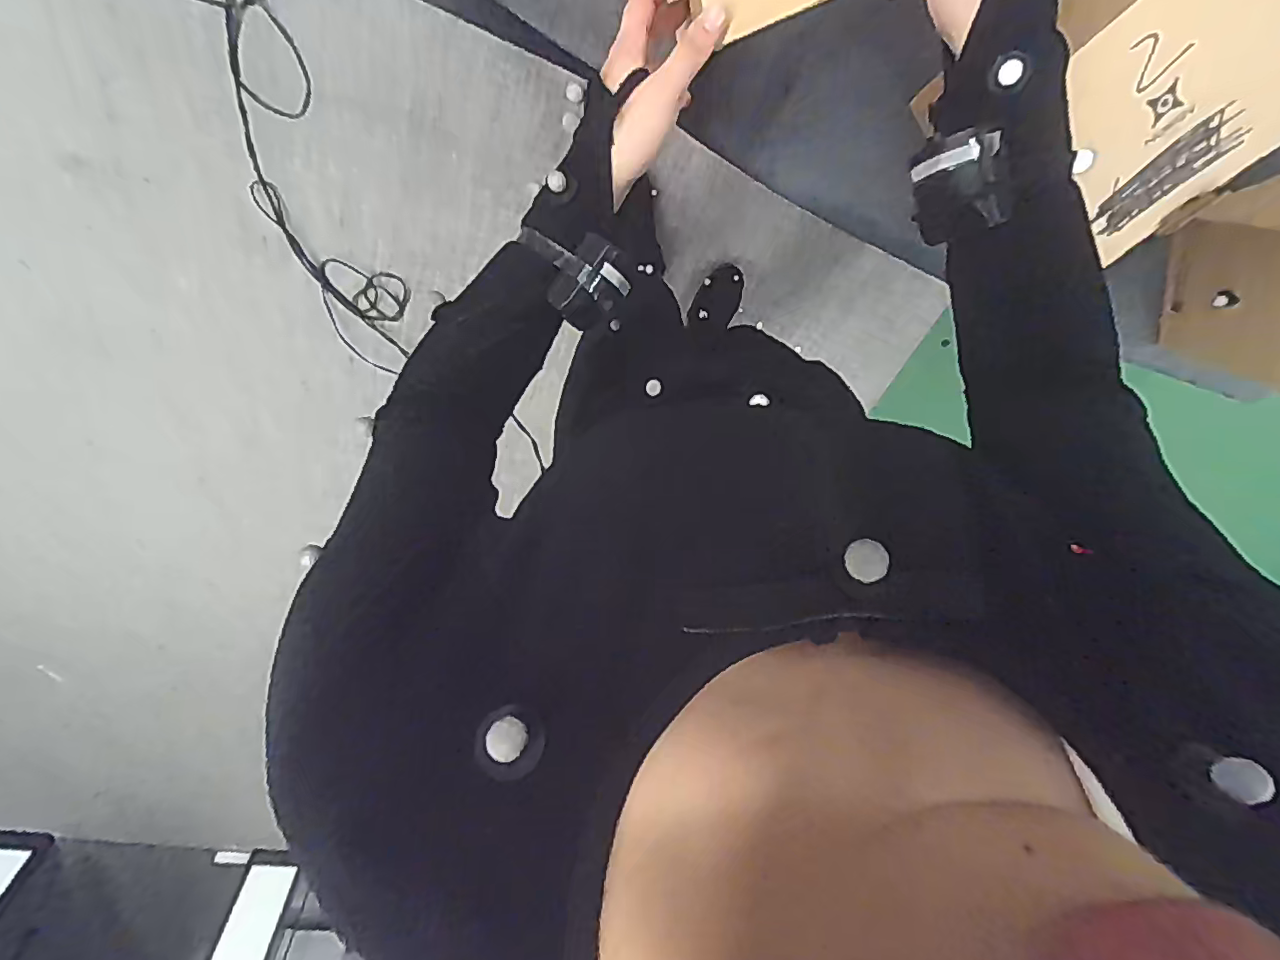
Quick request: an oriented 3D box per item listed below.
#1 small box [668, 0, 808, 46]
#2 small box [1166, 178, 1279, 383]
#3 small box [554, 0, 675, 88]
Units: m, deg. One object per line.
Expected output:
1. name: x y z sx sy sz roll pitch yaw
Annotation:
1. small box: 0.093 -0.422 0.361 0.179 0.176 0.168 -19 126 9
2. small box: 0.706 -0.215 0.554 0.179 0.176 0.168 -20 122 9
3. small box: -0.034 -0.831 0.956 0.179 0.176 0.168 27 120 -23
